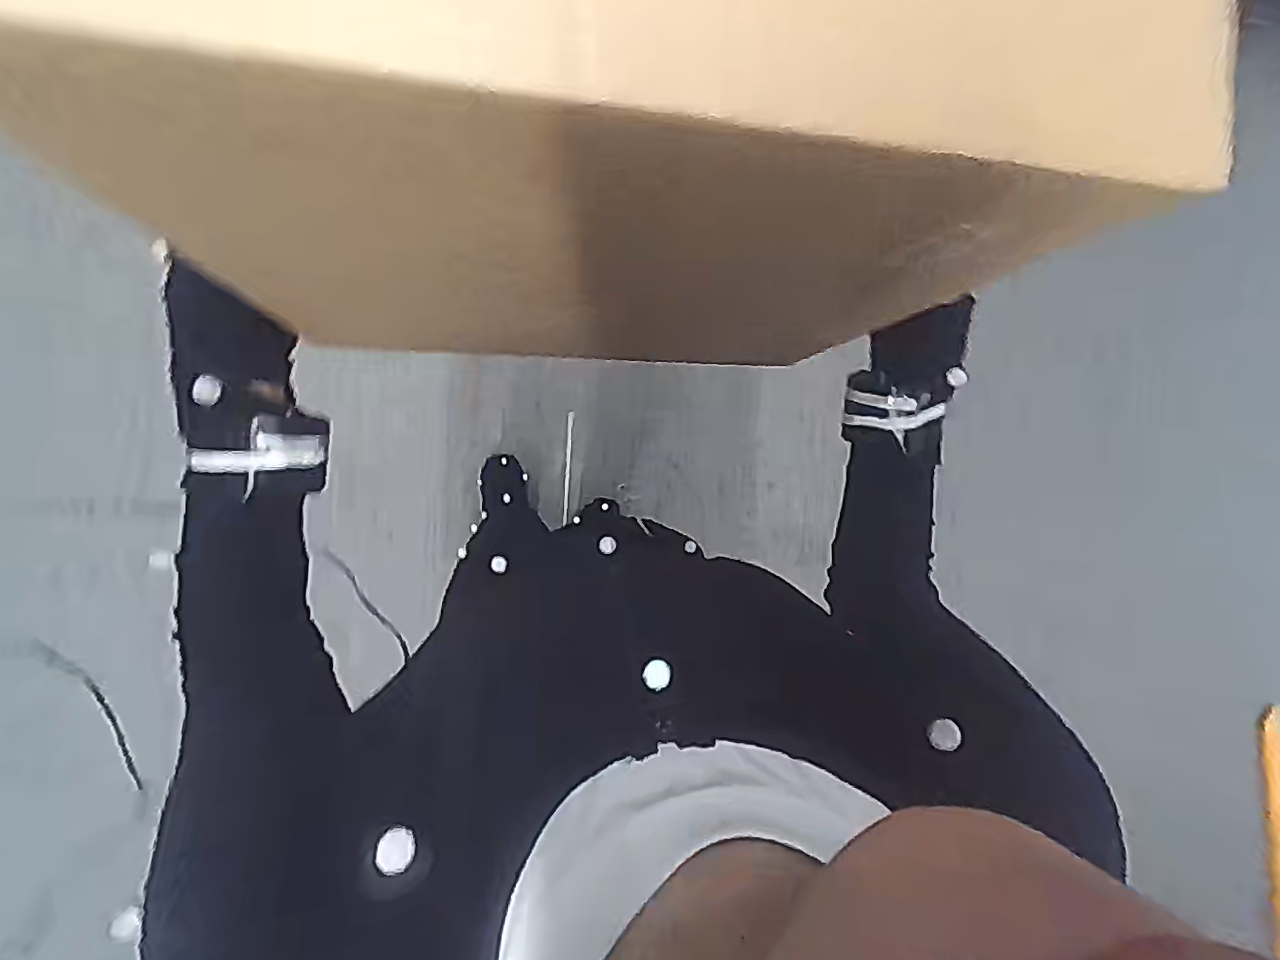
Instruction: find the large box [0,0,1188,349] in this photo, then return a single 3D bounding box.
[{"bbox_3d":[-0.023,-0.266,0.307,0.408,0.320,0.320,-1,91,-15],"label":"large box"}]
